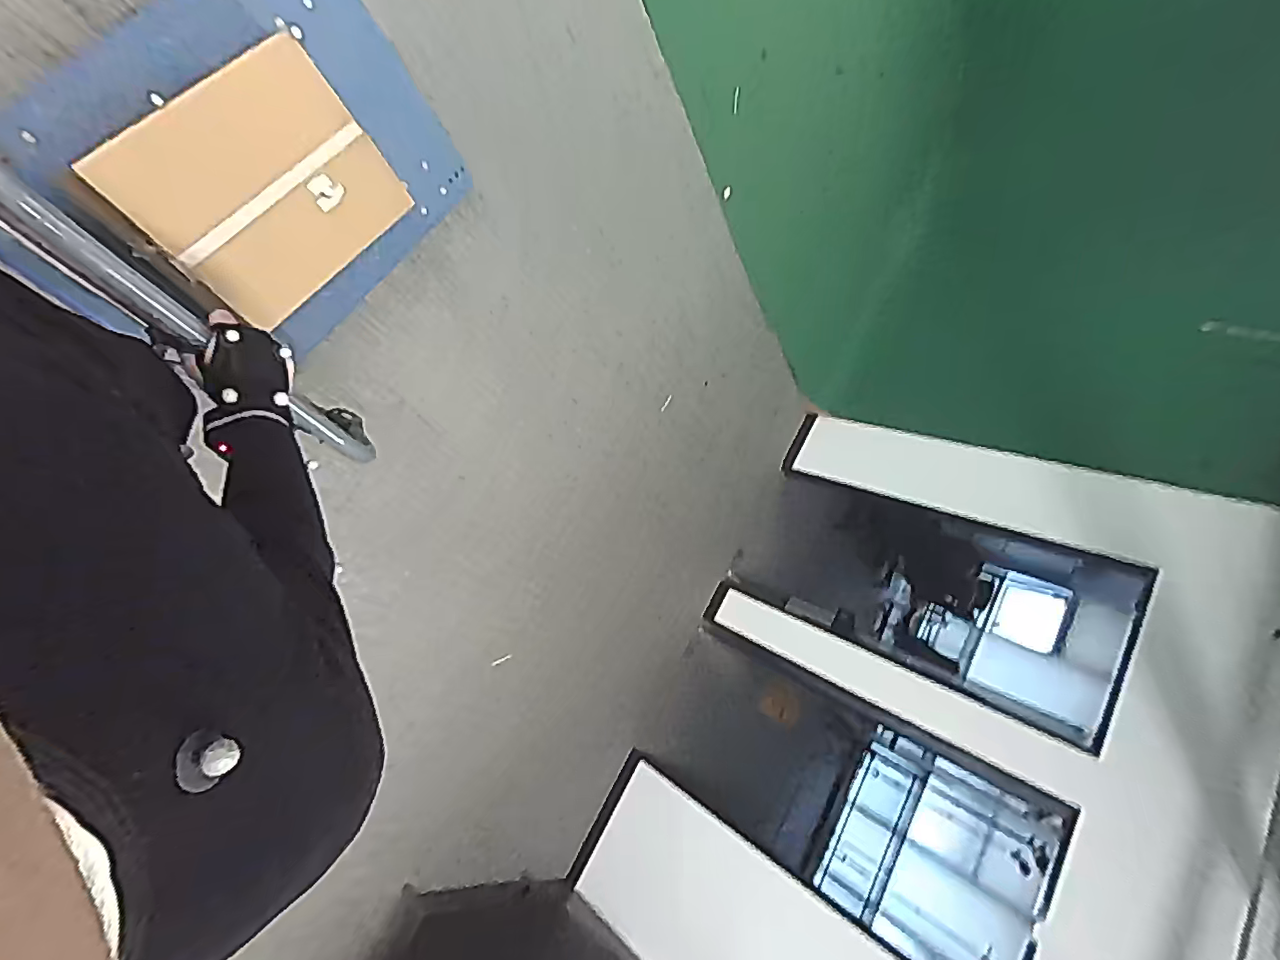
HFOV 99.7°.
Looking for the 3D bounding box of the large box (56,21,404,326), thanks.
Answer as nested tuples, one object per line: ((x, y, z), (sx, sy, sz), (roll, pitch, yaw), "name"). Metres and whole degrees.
((-0.755, -0.553, 1.024), (0.408, 0.320, 0.320), (-55, 141, -19), "large box")
